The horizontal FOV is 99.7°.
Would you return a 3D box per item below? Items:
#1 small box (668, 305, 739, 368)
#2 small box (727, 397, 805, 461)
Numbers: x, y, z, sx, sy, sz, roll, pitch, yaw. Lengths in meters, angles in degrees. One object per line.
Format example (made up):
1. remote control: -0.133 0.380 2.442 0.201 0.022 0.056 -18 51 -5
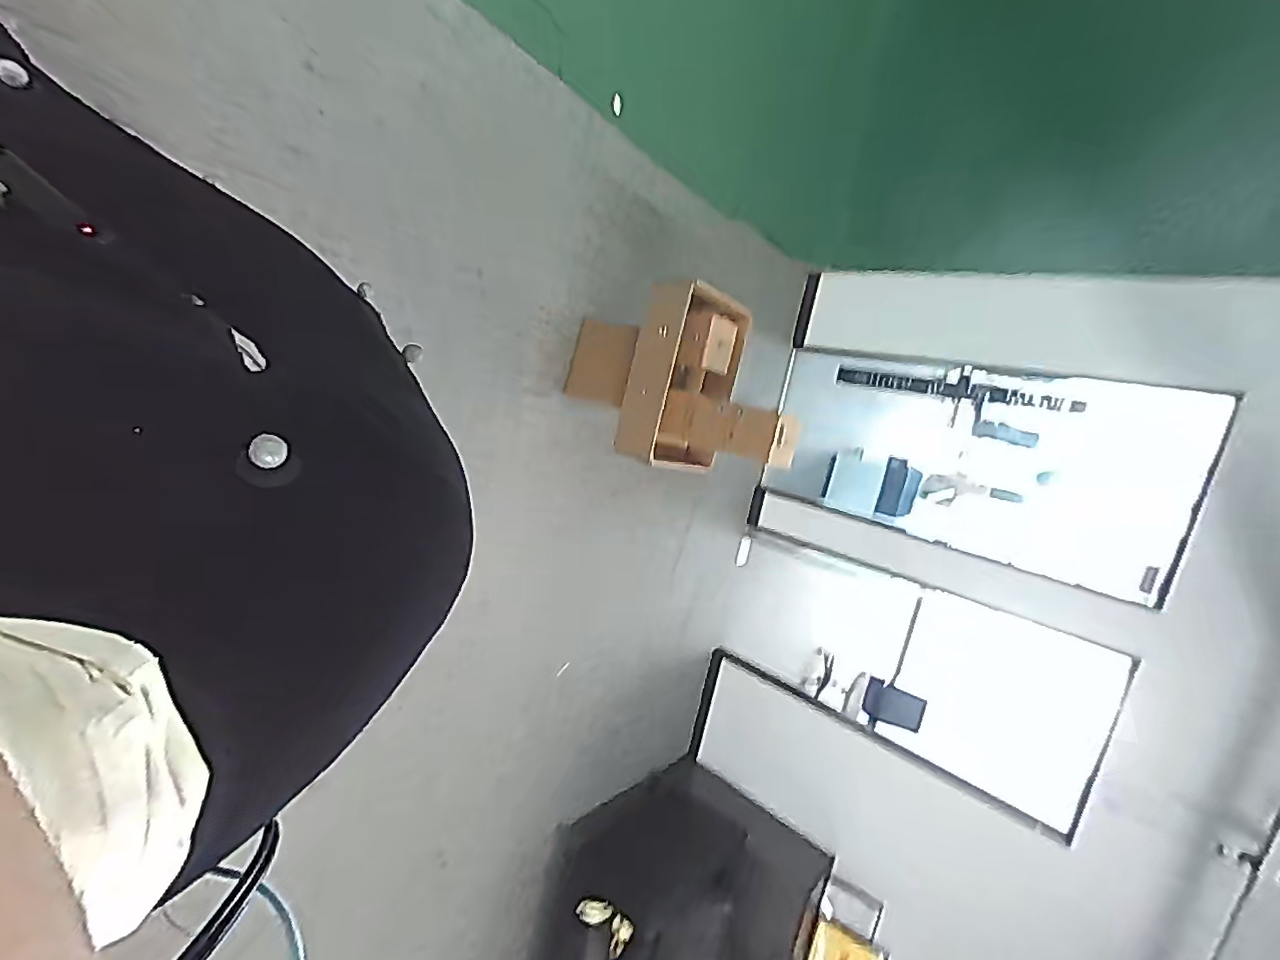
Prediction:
1. small box: 0.220 -0.509 1.906 0.168 0.176 0.179 2 105 -50
2. small box: 0.404 -0.165 1.745 0.179 0.176 0.168 3 103 -52
